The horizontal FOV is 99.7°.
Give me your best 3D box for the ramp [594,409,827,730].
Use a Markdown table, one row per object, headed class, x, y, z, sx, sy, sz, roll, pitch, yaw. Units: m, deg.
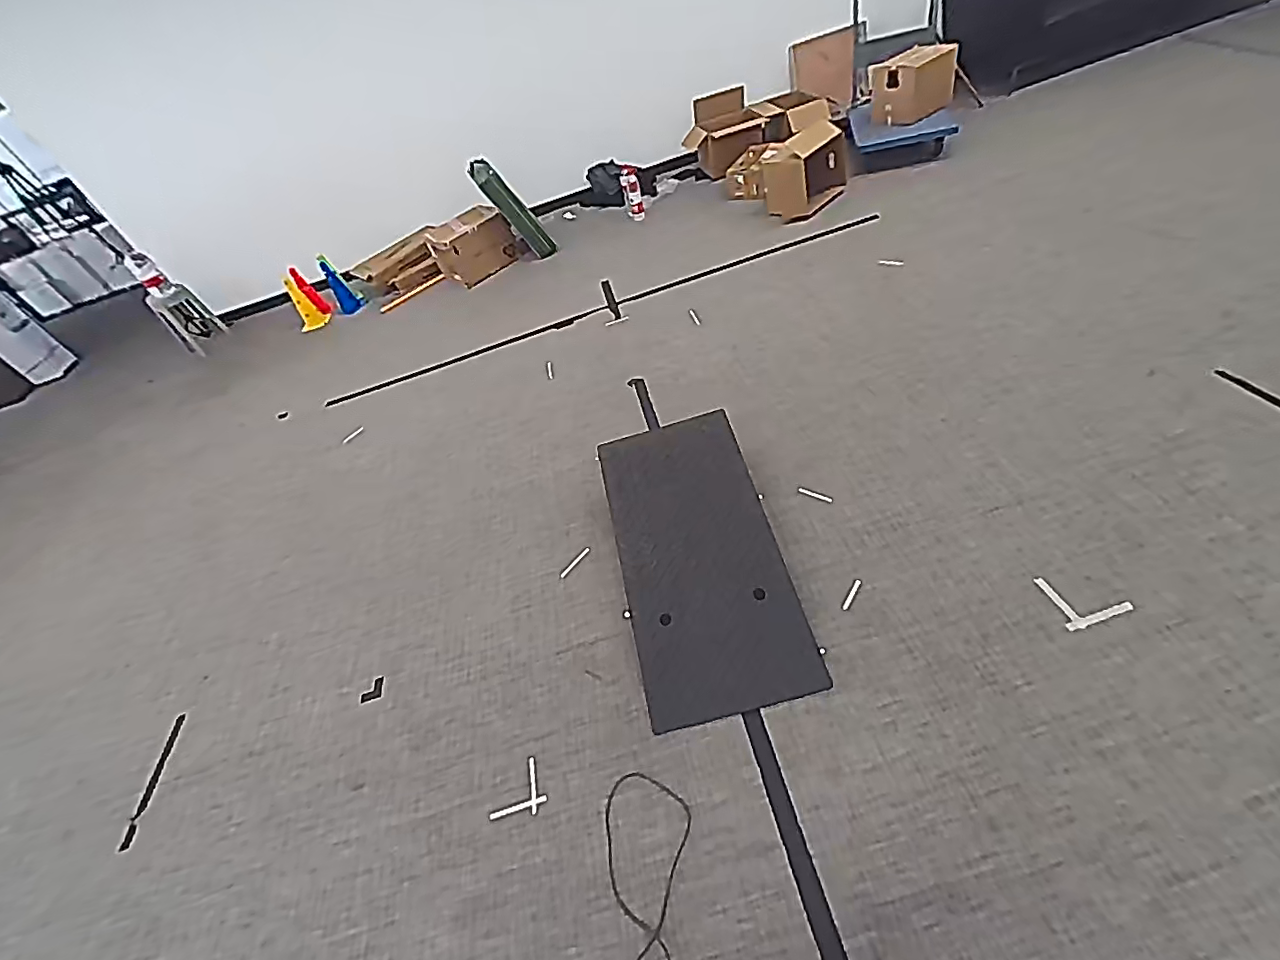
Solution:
| class | x | y | z | sx | sy | sz | roll | pitch | yaw |
| --- | --- | --- | --- | --- | --- | --- | --- | --- | --- |
| ramp | 0.166 | 0.206 | 1.711 | 0.509 | 0.206 | 0.991 | -17 | 45 | 1 |
